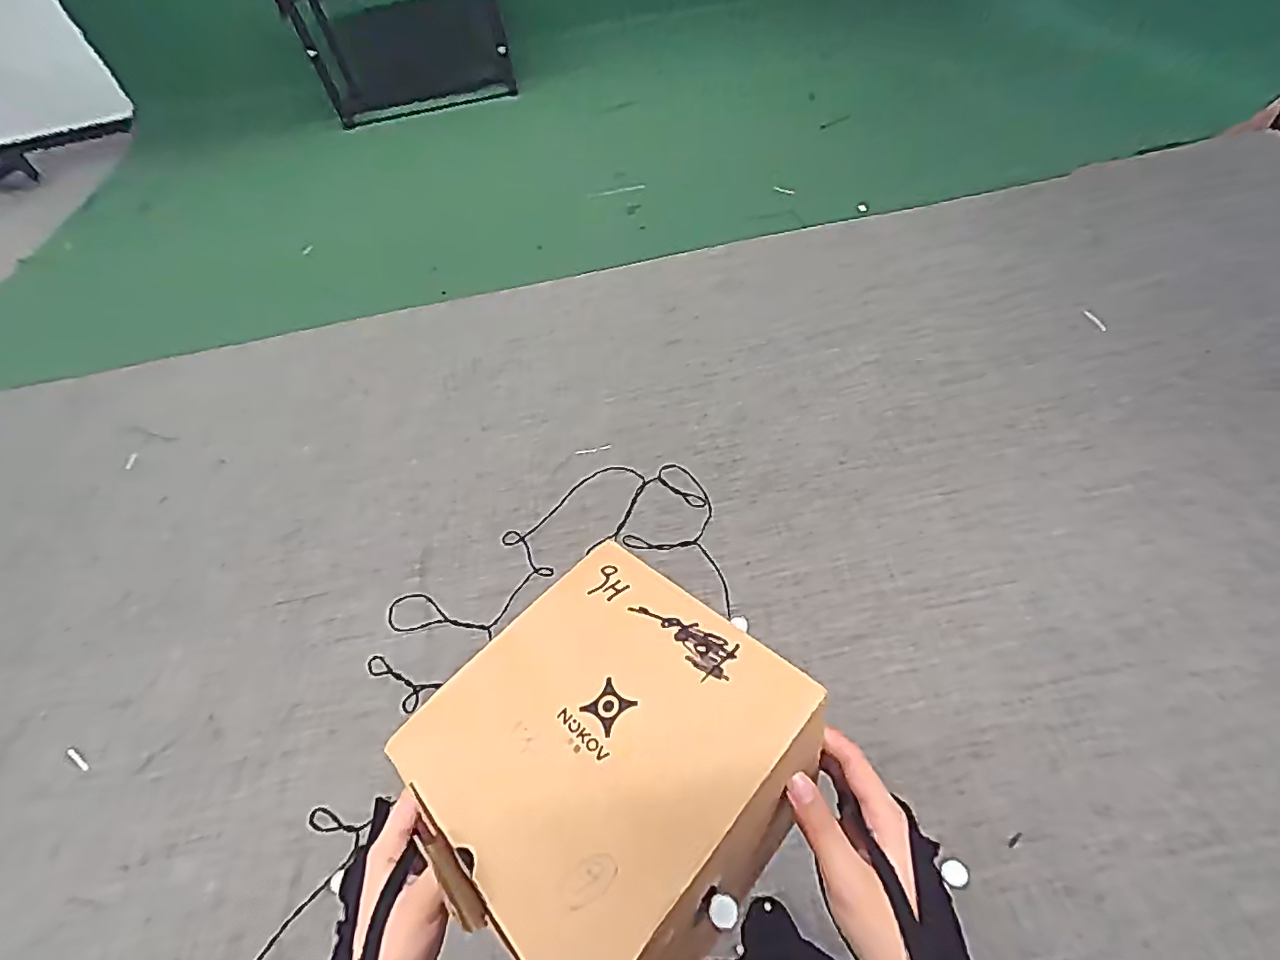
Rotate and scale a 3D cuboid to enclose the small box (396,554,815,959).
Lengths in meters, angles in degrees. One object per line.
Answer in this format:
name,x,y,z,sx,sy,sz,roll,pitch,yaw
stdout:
small box,-0.006,0.188,0.341,0.168,0.176,0.179,29,60,36
